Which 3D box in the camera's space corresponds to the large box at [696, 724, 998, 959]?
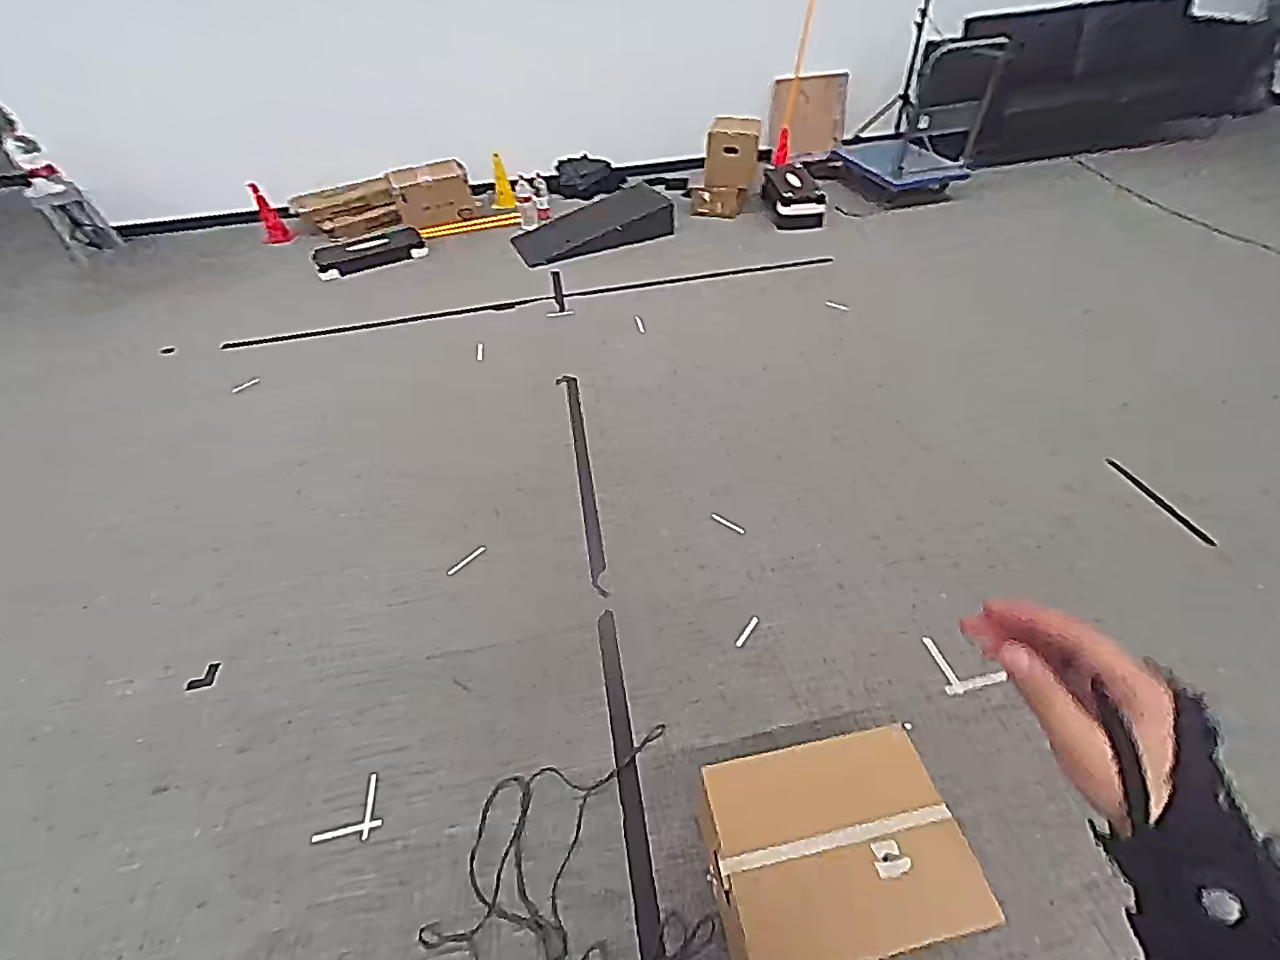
[{"bbox_3d":[0.342,0.719,1.024,0.408,0.320,0.320,-10,45,-7],"label":"large box"}]
